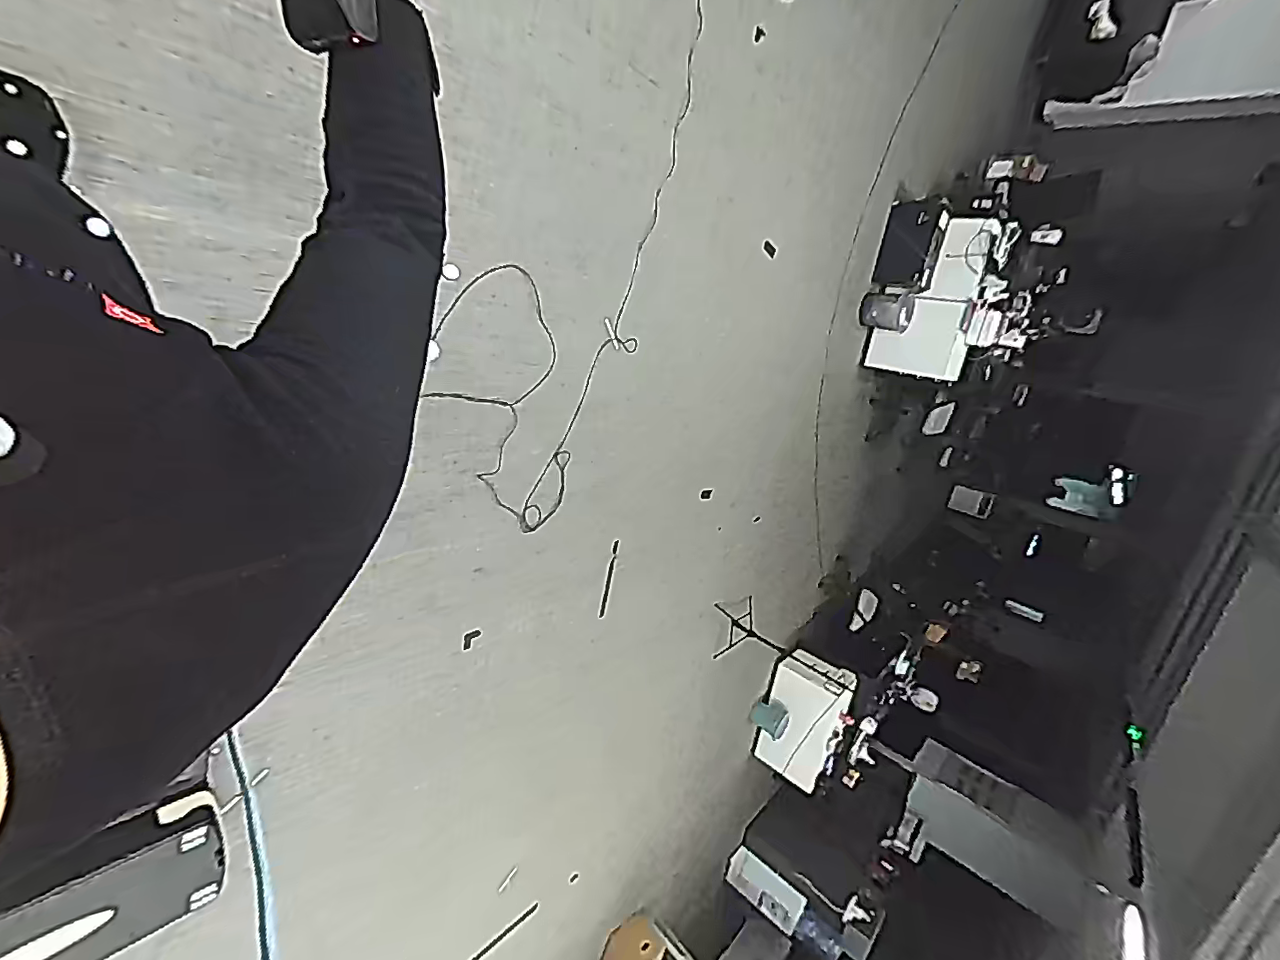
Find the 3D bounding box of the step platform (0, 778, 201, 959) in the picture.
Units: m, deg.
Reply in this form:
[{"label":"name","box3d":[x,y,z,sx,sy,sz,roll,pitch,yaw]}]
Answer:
[{"label":"step platform","box3d":[-1.375,0.962,1.153,0.684,0.204,0.286,-11,116,-47]}]
